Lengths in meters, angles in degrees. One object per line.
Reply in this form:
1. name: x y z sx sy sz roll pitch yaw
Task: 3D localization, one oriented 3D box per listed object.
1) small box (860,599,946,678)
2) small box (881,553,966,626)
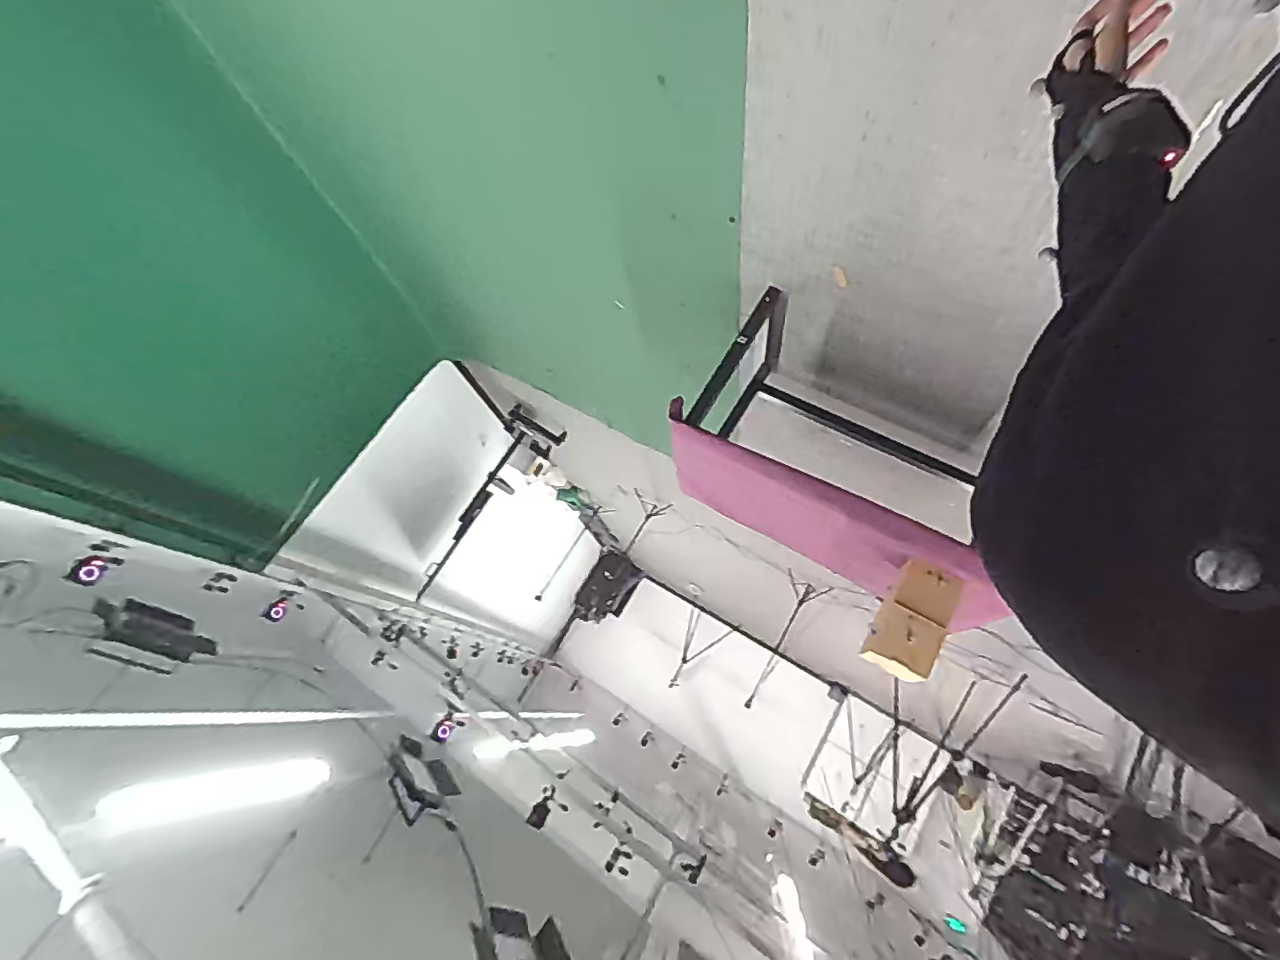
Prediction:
1. small box: 0.805 0.482 1.652 0.168 0.176 0.179 28 164 18
2. small box: 0.892 0.353 1.704 0.168 0.176 0.179 27 164 20
